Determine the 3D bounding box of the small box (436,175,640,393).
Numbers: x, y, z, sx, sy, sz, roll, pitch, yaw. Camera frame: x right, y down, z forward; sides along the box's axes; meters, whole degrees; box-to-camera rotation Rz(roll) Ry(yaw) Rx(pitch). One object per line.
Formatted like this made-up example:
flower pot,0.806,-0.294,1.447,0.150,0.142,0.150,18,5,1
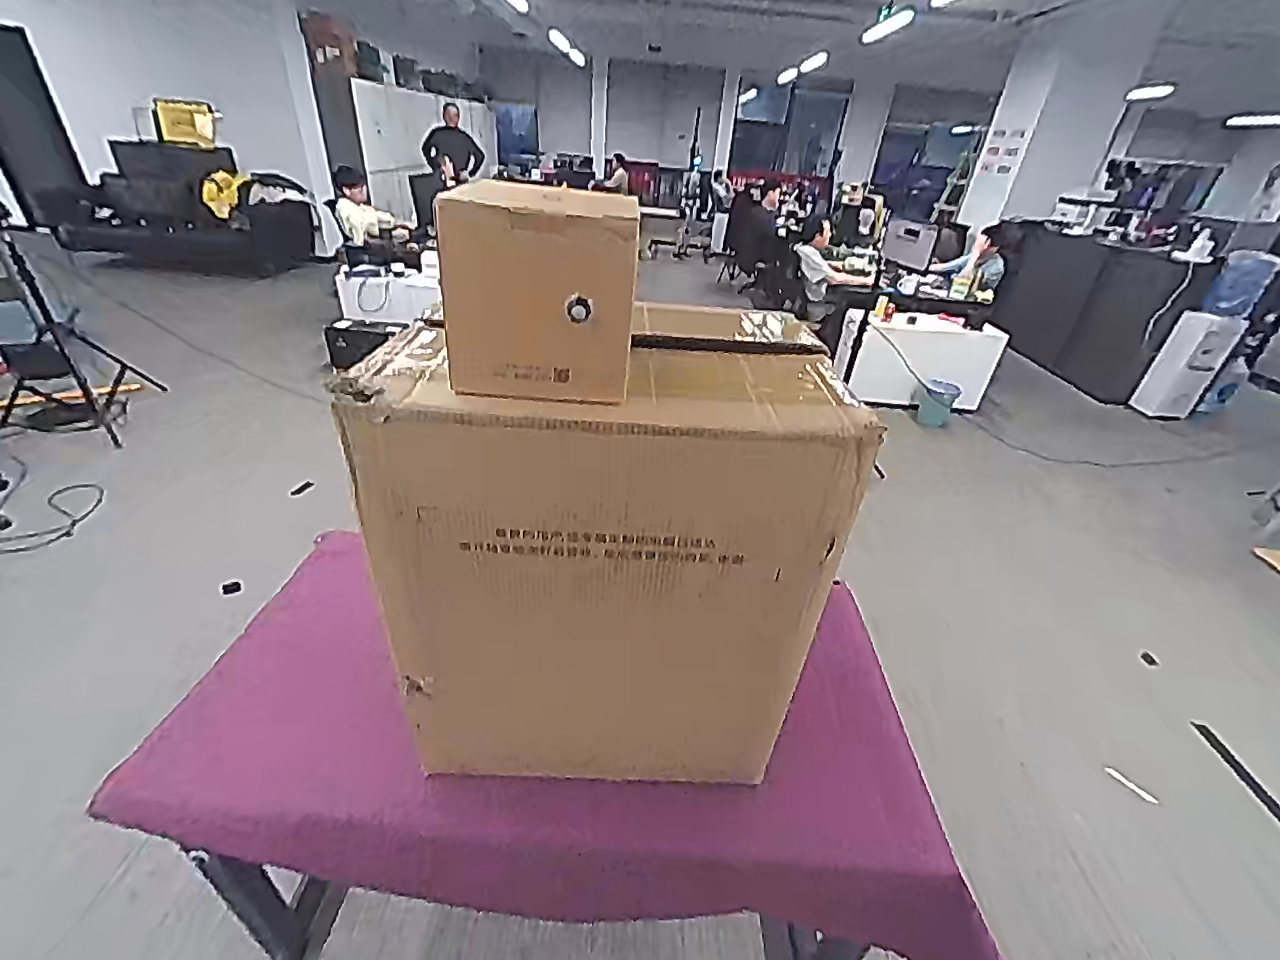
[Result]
small box,-0.089,-0.197,0.541,0.168,0.176,0.179,5,31,-5
